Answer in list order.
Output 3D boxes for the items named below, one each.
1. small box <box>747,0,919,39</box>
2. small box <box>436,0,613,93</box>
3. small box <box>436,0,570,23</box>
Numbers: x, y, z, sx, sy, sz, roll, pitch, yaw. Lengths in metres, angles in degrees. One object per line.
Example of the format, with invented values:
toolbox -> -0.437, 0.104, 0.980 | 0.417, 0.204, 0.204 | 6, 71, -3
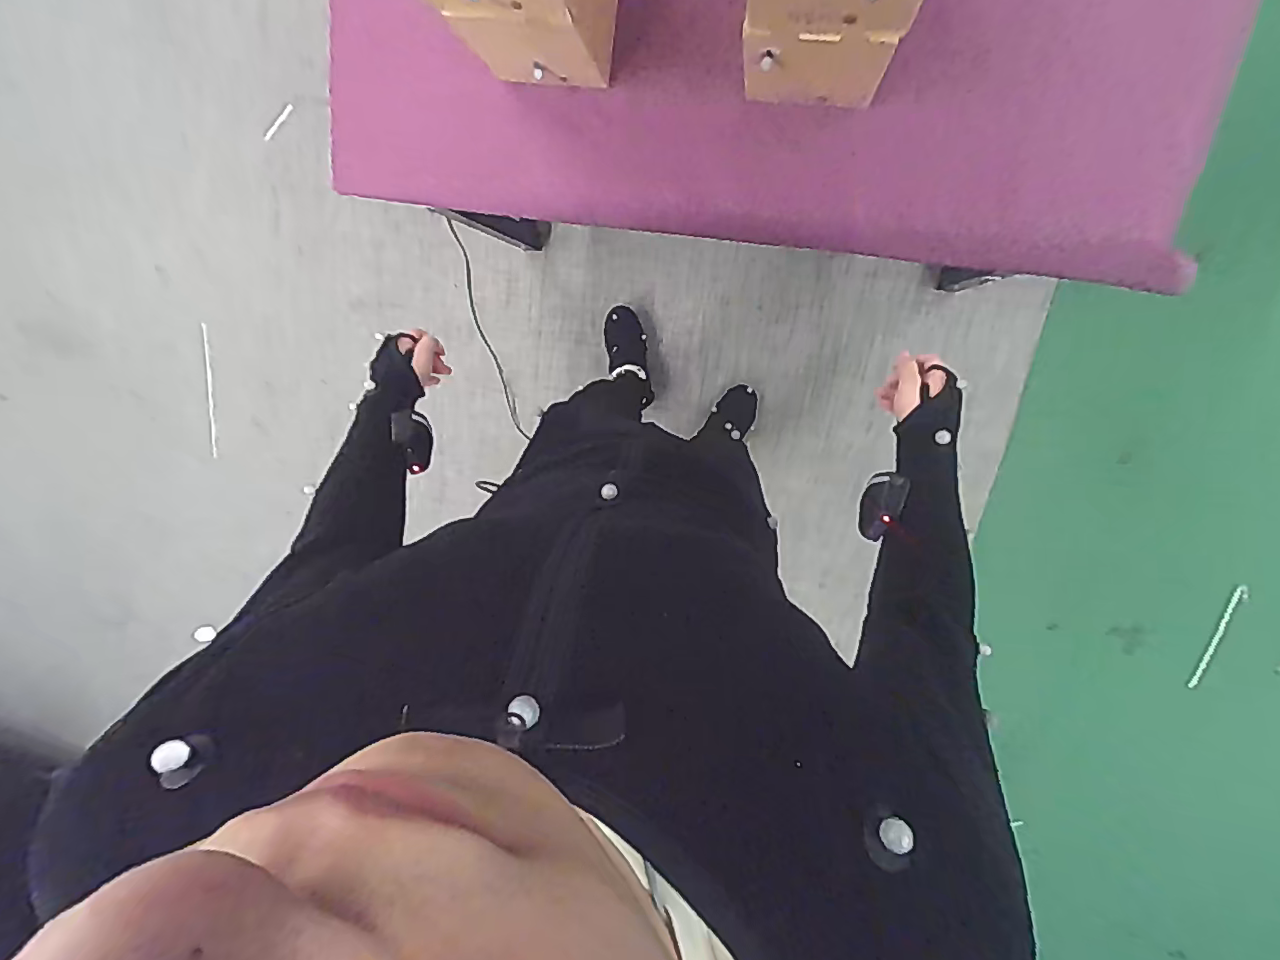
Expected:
small box -> 0.188, -0.529, 0.472 | 0.168, 0.176, 0.179 | 10, 104, 8
small box -> -0.133, -0.629, 0.679 | 0.168, 0.176, 0.179 | 11, 105, 8
small box -> -0.162, -0.595, 0.523 | 0.168, 0.176, 0.179 | 9, 105, 8
